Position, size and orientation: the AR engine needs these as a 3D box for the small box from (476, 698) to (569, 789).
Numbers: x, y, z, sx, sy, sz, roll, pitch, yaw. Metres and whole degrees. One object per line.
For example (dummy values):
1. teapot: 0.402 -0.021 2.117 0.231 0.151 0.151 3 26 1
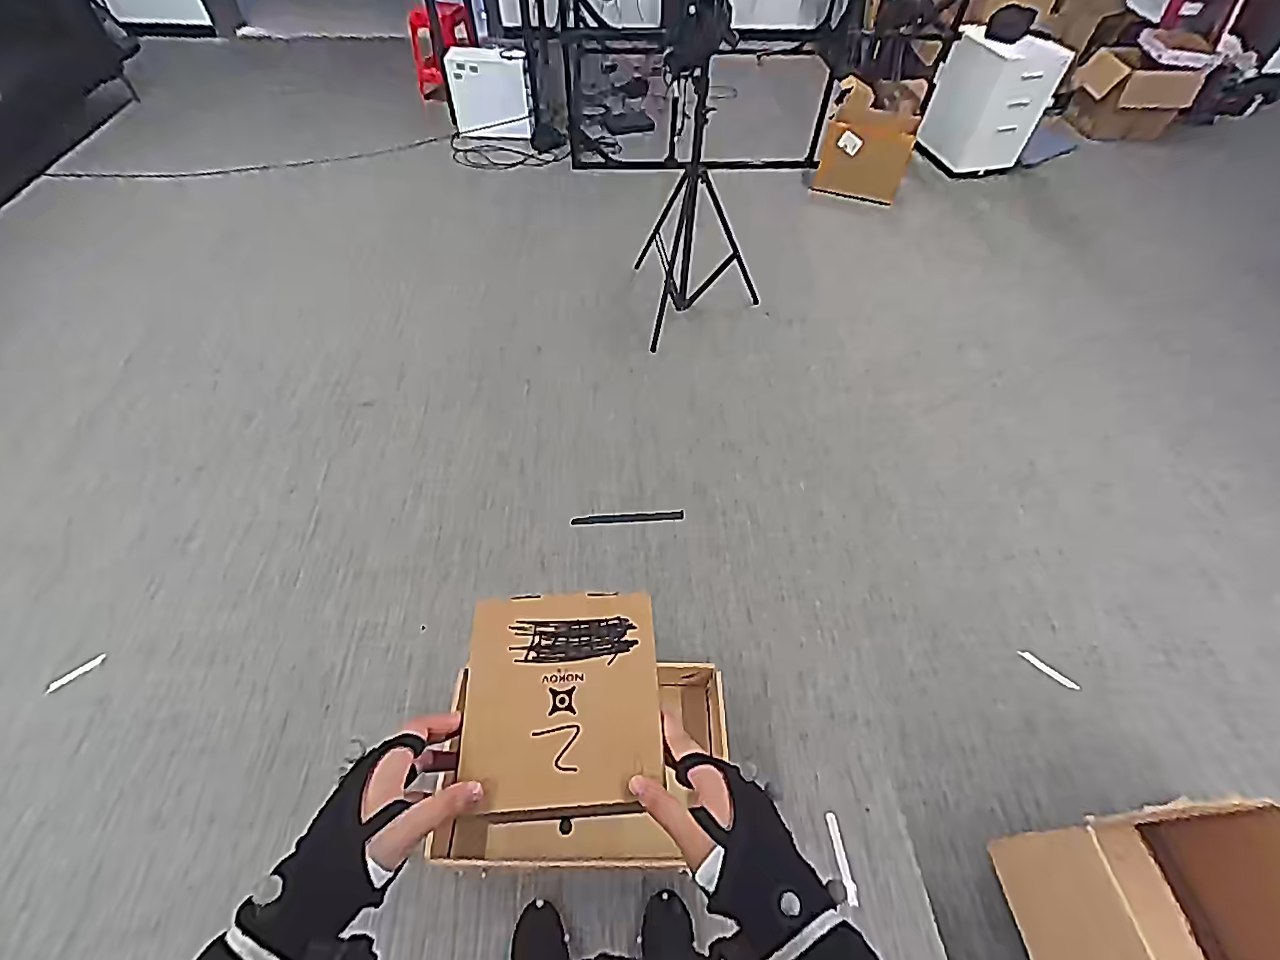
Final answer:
1. small box: -0.259 0.607 1.238 0.179 0.176 0.168 2 56 -3
